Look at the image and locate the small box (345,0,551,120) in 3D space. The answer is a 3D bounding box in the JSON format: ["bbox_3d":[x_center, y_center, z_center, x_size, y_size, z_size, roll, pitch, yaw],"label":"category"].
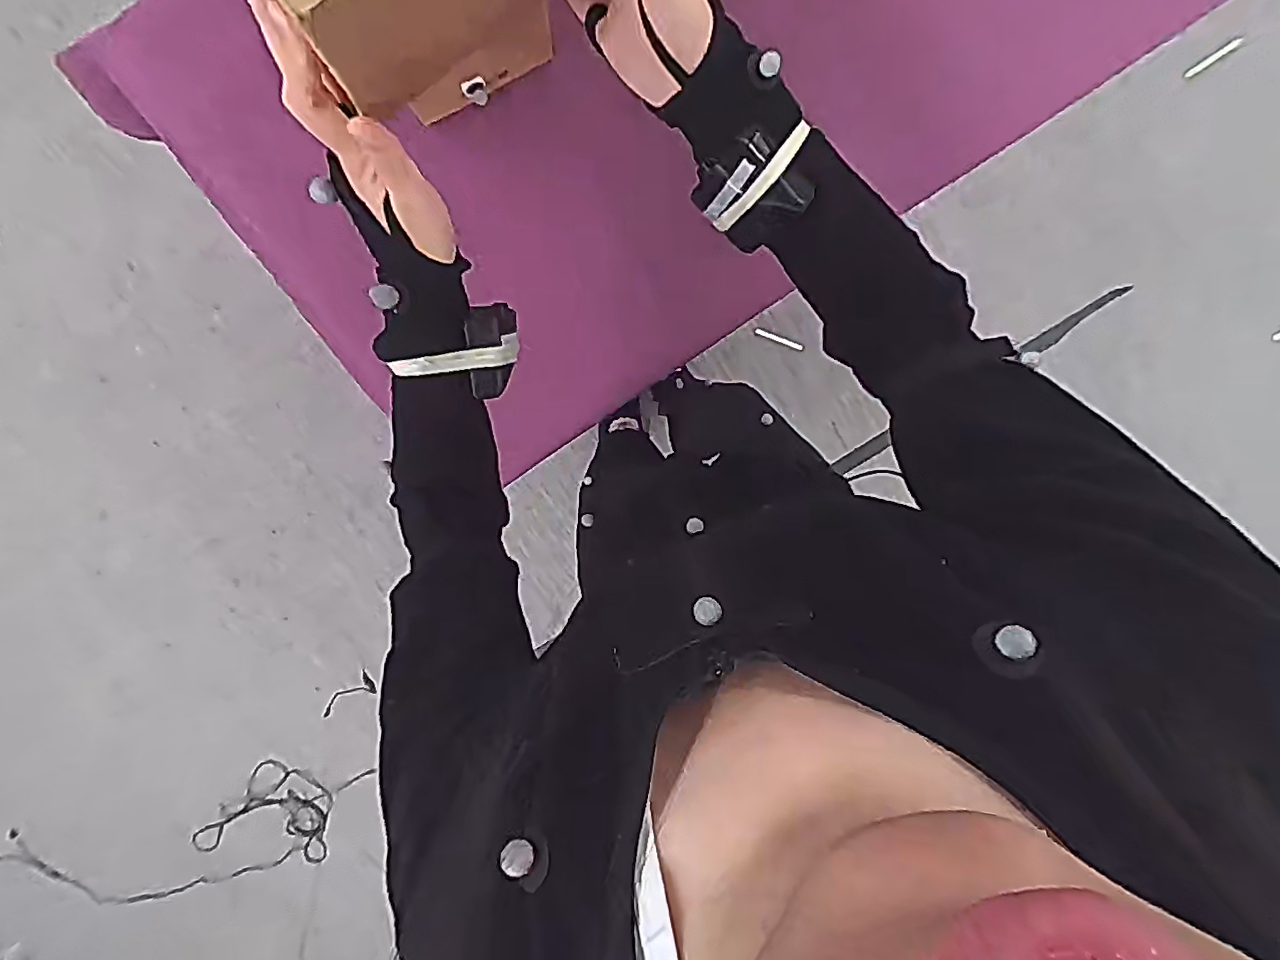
[{"bbox_3d":[-0.198,-0.489,0.510,0.168,0.176,0.179,-28,109,4],"label":"small box"}]
